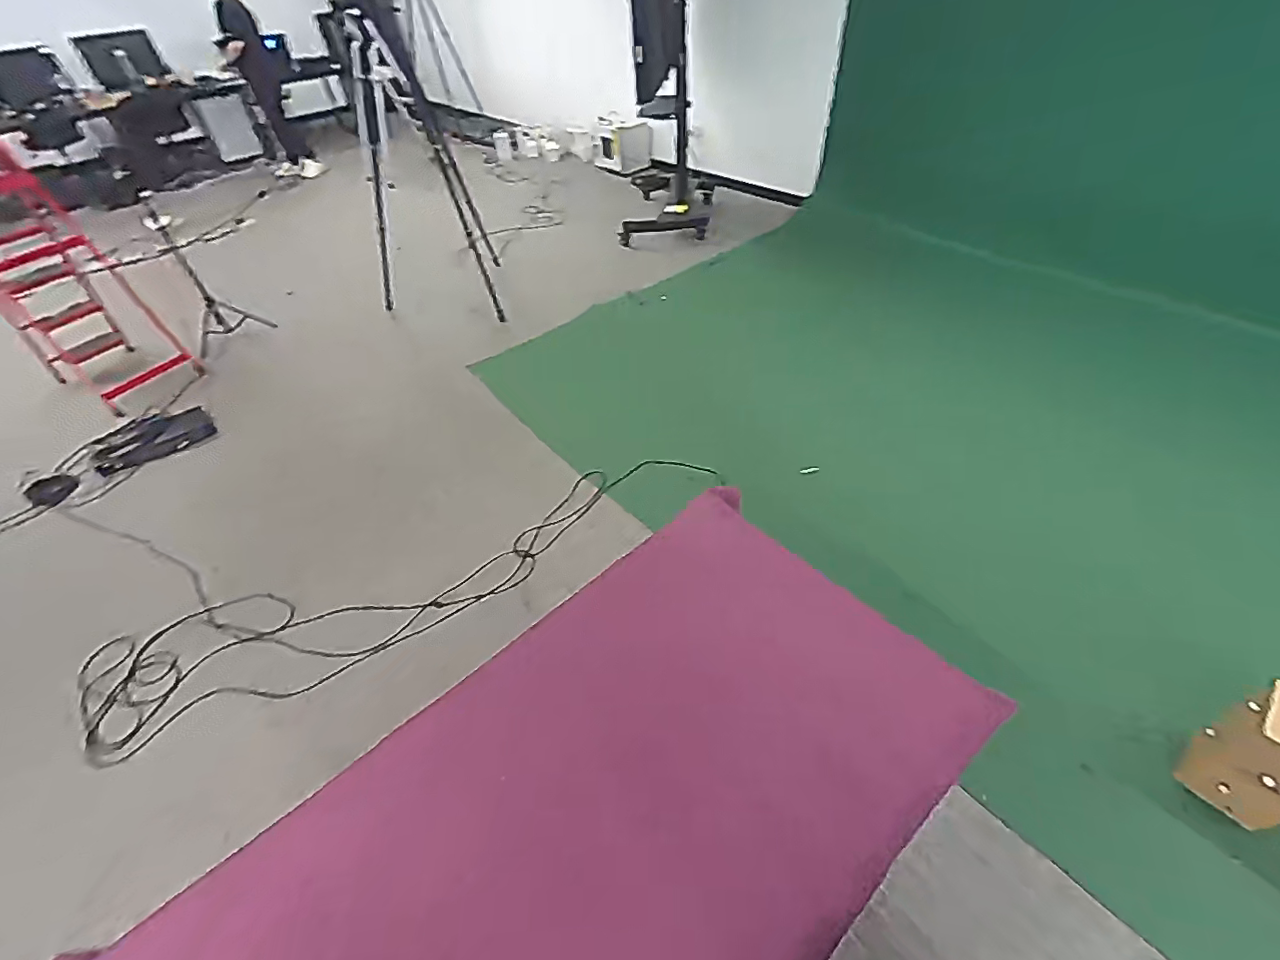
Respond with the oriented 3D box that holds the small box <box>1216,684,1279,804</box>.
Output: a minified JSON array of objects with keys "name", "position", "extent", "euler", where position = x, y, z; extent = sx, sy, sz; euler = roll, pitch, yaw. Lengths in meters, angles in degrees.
[{"name":"small box","position":[1.463,0.603,1.213],"extent":[0.179,0.176,0.168],"euler":[-36,52,-26]}]

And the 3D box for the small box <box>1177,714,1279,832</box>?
[{"name":"small box","position":[1.484,0.719,1.327],"extent":[0.179,0.176,0.168],"euler":[-33,51,-25]}]
